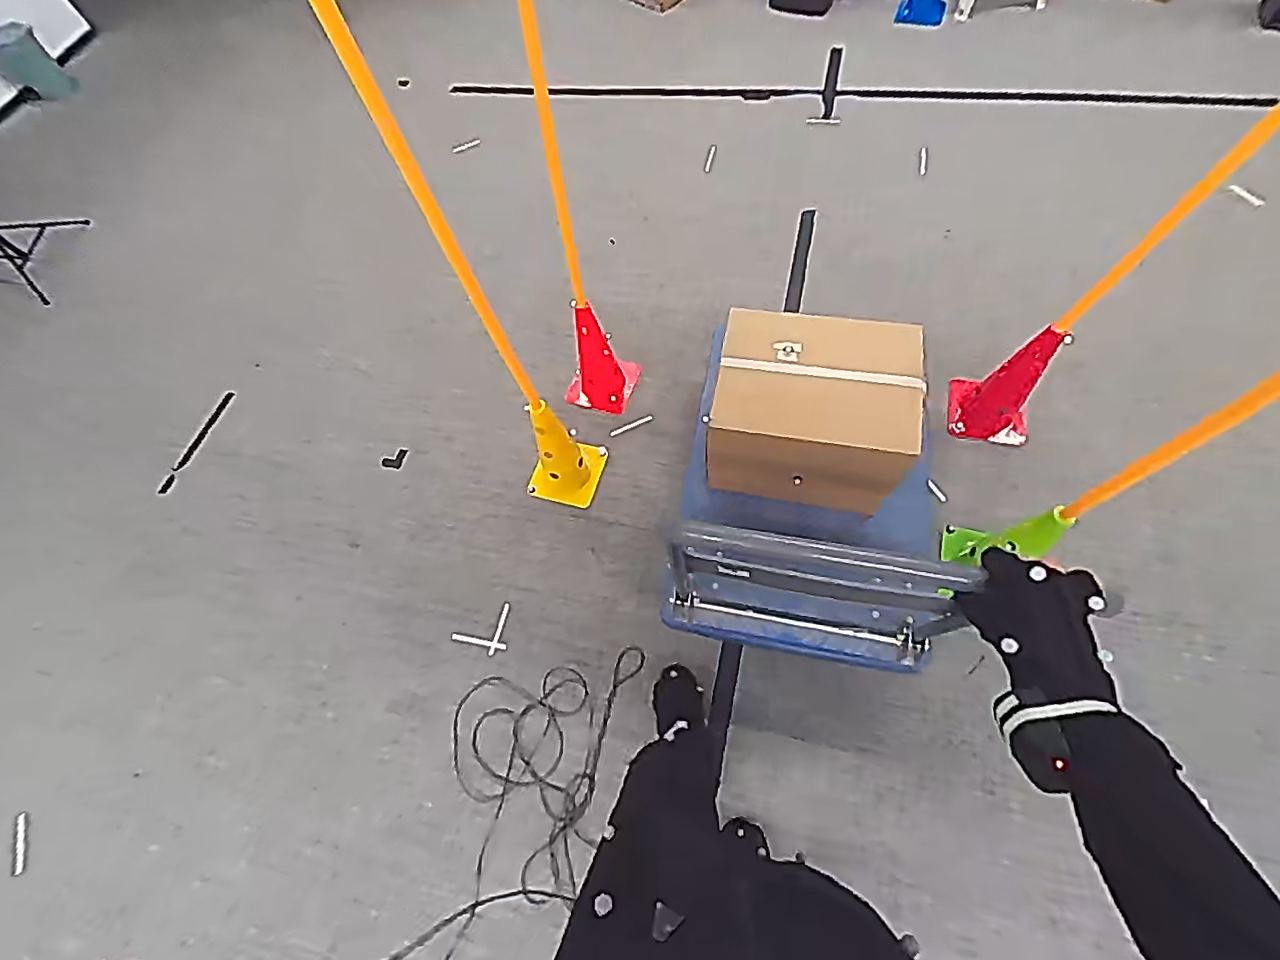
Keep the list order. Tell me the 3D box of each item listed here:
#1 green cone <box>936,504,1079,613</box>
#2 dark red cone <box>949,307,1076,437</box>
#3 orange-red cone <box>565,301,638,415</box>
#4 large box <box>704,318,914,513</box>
[{"bbox_3d":[0.843,0.145,1.211,0.202,0.368,0.200,14,66,12],"label":"green cone"},{"bbox_3d":[0.973,-0.288,1.387,0.201,0.394,0.202,10,66,10],"label":"dark red cone"},{"bbox_3d":[-0.138,-0.385,1.592,0.198,0.360,0.199,17,66,13],"label":"orange-red cone"},{"bbox_3d":[0.374,-0.139,1.248,0.408,0.320,0.320,9,66,12],"label":"large box"}]
